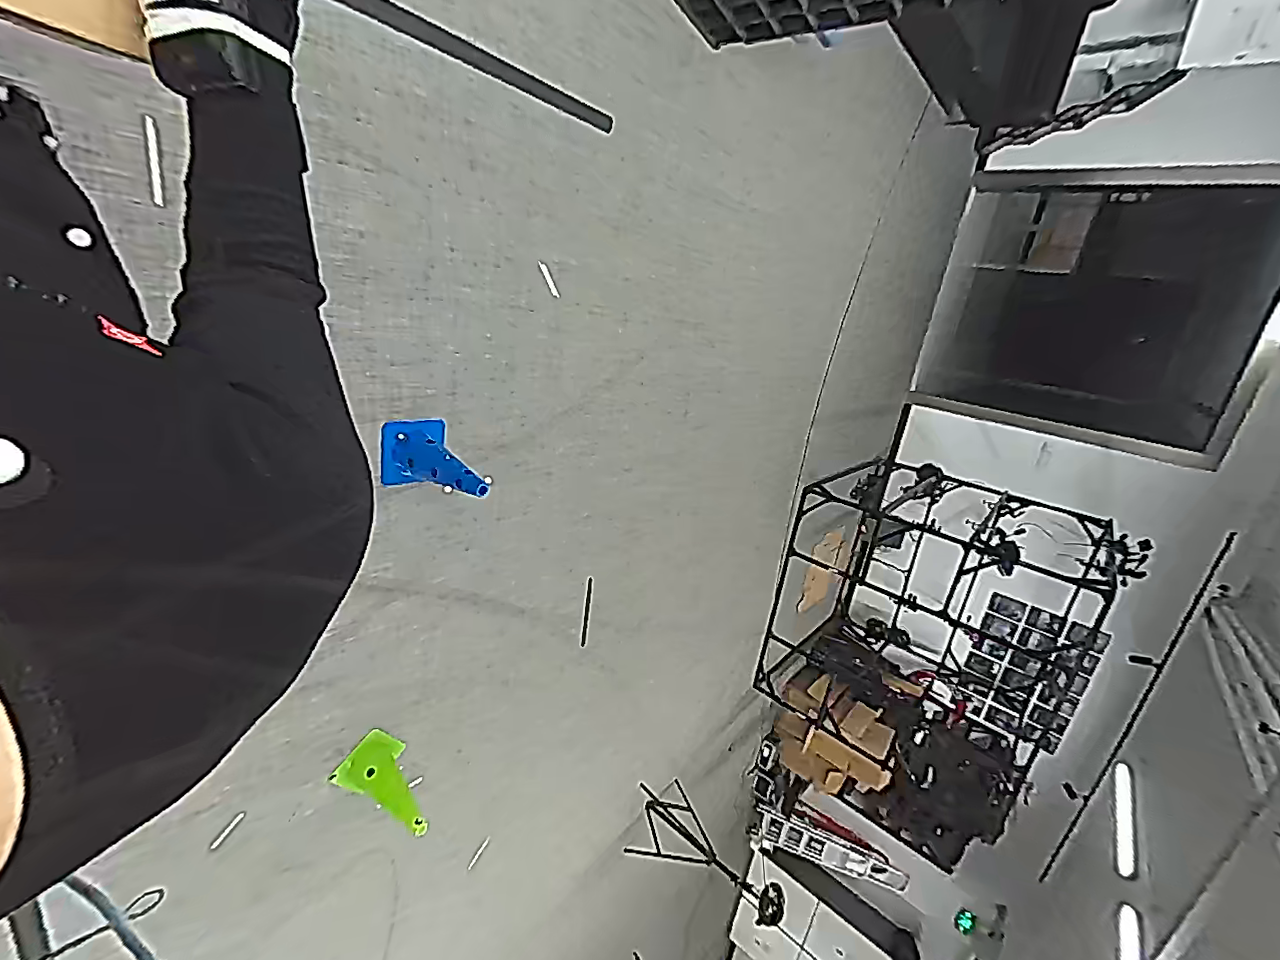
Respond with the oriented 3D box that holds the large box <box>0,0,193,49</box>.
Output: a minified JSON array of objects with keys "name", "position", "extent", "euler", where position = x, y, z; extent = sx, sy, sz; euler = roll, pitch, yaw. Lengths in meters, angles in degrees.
[{"name":"large box","position":[-0.509,-0.483,0.257],"extent":[0.408,0.320,0.320],"euler":[-9,125,-50]}]

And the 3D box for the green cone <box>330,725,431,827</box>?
[{"name":"green cone","position":[-0.817,1.025,1.797],"extent":[0.202,0.368,0.200],"euler":[-51,143,-25]}]

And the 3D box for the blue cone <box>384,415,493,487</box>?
[{"name":"blue cone","position":[-0.563,-0.053,1.563],"extent":[0.192,0.380,0.193],"euler":[-10,117,-52]}]
